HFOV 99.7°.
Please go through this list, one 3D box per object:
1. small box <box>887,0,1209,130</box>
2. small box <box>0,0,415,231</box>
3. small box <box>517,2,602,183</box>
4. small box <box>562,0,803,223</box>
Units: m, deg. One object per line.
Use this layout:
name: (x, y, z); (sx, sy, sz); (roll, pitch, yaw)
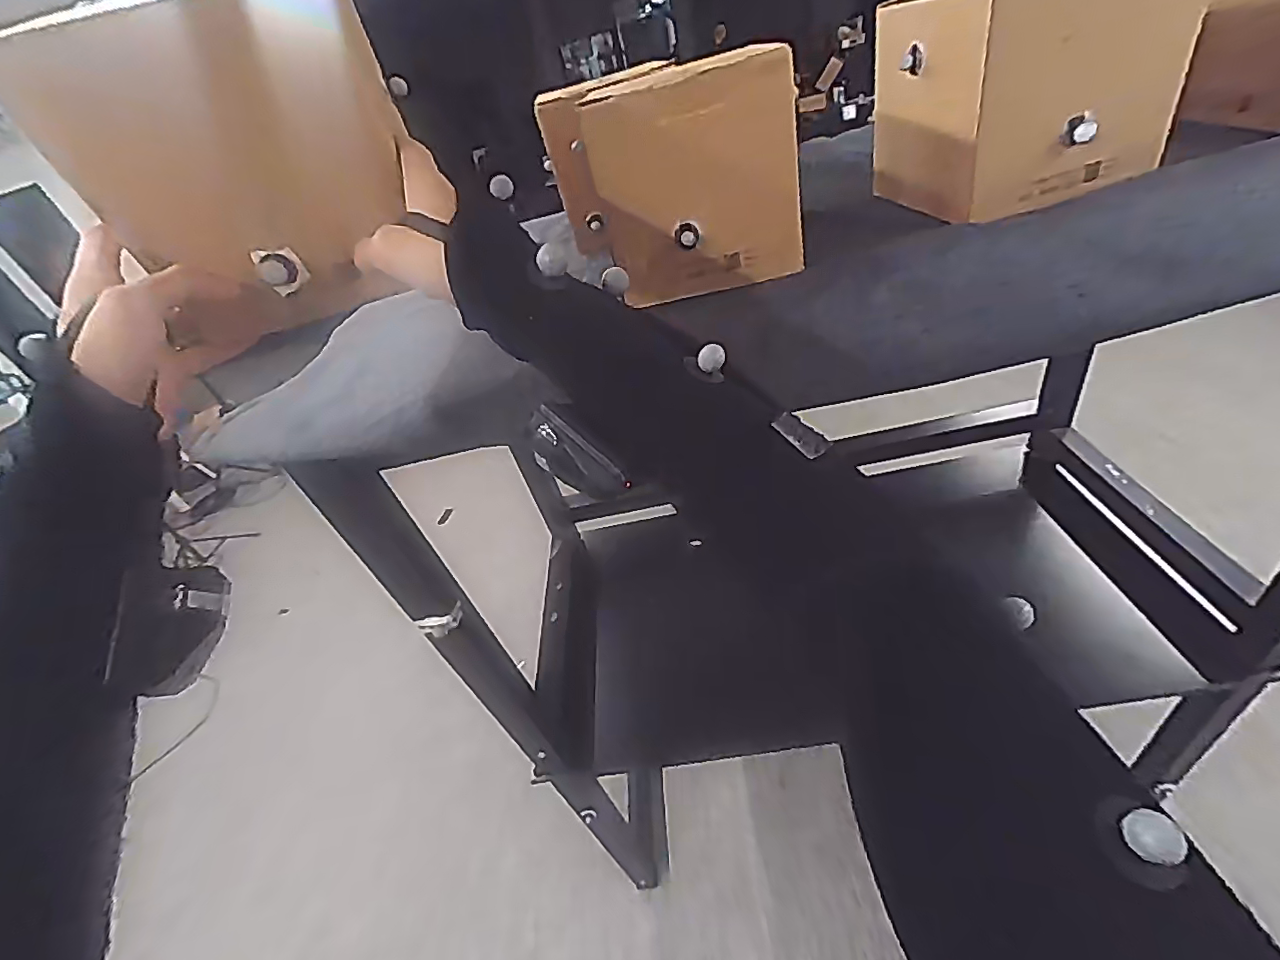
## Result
small box: (0.321, -0.406, 0.442); (0.168, 0.176, 0.179); (-15, 39, 3)
small box: (-0.254, -0.280, 0.324); (0.168, 0.176, 0.179); (-20, 51, -6)
small box: (-0.039, -0.486, 0.667); (0.168, 0.176, 0.179); (-14, 38, 4)
small box: (0.041, -0.344, 0.472); (0.168, 0.176, 0.179); (-10, 39, 9)
